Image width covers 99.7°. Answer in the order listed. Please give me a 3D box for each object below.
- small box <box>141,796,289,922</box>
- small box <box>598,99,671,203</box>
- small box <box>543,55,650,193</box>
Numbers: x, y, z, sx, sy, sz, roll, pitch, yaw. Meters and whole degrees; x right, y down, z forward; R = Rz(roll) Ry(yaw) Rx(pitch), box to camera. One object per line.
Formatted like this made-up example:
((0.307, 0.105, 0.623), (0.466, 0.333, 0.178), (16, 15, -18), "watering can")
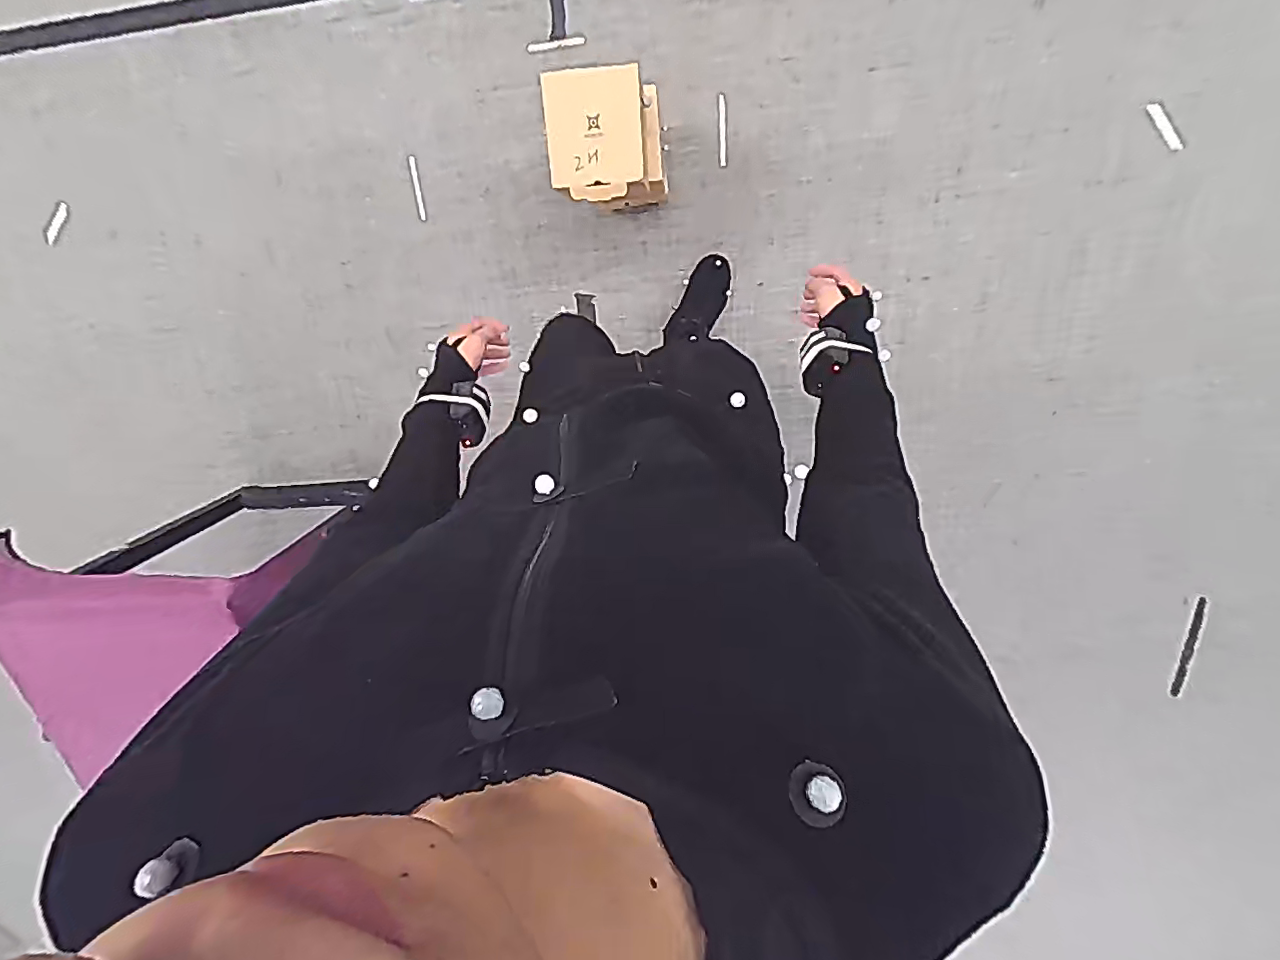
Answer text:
((-0.962, 0.869, 1.245), (0.168, 0.176, 0.179), (-13, 110, 10), "small box")
((-0.019, -0.768, 1.283), (0.168, 0.176, 0.179), (-6, 111, 8), "small box")
((-0.071, -0.635, 0.984), (0.168, 0.176, 0.179), (-1, 112, 5), "small box")
